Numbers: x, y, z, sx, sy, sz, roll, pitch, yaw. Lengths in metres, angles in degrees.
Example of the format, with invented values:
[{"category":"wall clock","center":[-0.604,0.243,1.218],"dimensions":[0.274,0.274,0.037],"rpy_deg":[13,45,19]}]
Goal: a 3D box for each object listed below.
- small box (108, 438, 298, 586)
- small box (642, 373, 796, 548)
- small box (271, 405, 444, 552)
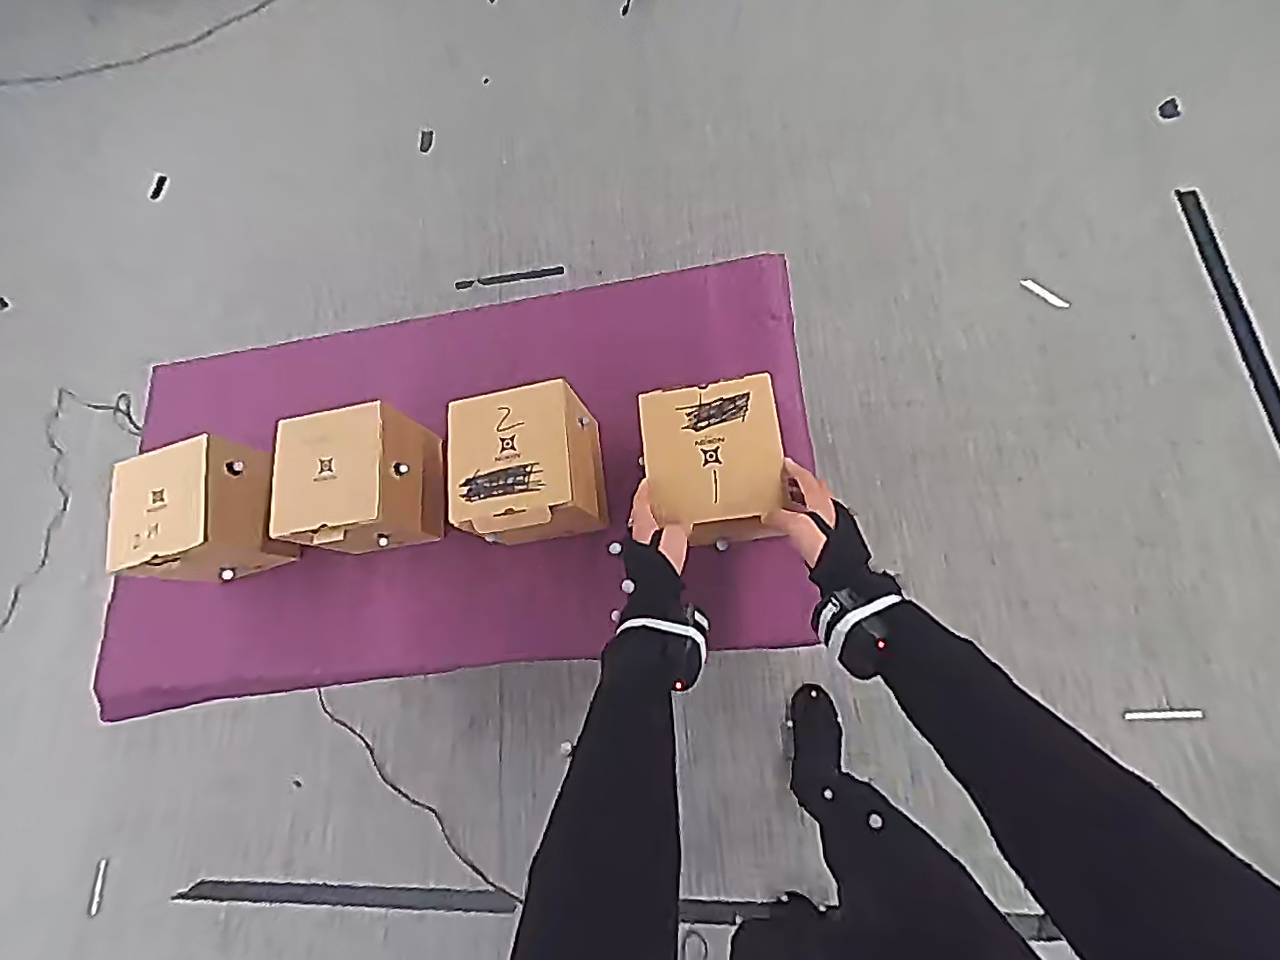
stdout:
[{"category":"small box","center":[-0.675,0.059,0.855],"dimensions":[0.168,0.176,0.179],"rpy_deg":[-16,73,7]},{"category":"small box","center":[0.103,-0.015,0.711],"dimensions":[0.168,0.176,0.179],"rpy_deg":[-9,74,10]},{"category":"small box","center":[-0.412,0.010,0.816],"dimensions":[0.168,0.176,0.179],"rpy_deg":[-9,73,8]}]
